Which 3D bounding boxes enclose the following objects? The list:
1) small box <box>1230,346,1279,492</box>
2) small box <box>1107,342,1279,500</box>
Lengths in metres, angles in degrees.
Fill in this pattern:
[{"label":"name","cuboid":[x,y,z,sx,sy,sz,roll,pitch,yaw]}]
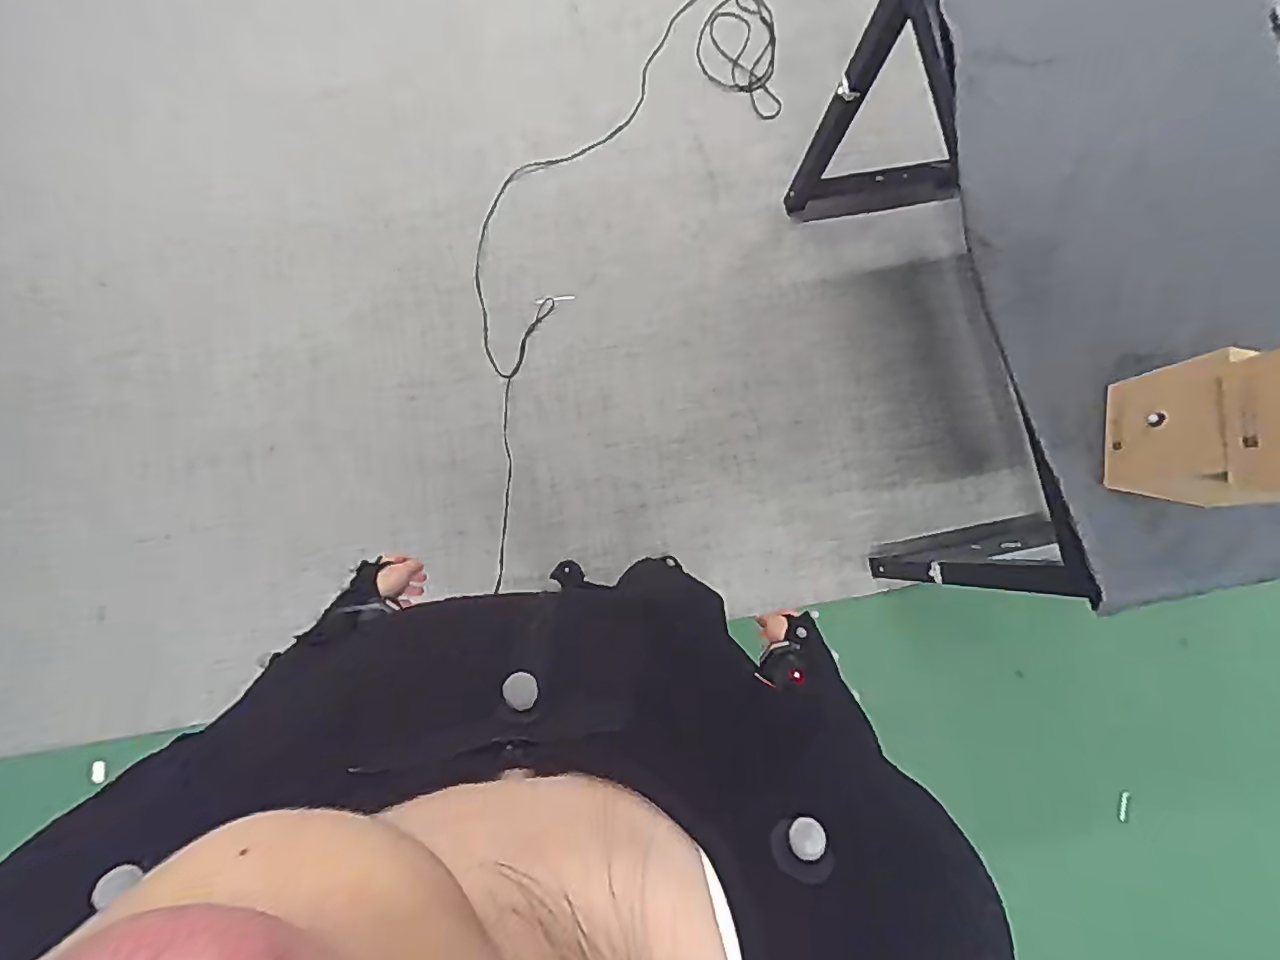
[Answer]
[{"label":"small box","cuboid":[0.805,-0.071,0.586,0.179,0.176,0.168,5,83,-4]},{"label":"small box","cuboid":[0.801,-0.070,0.750,0.179,0.176,0.168,10,82,-4]}]
